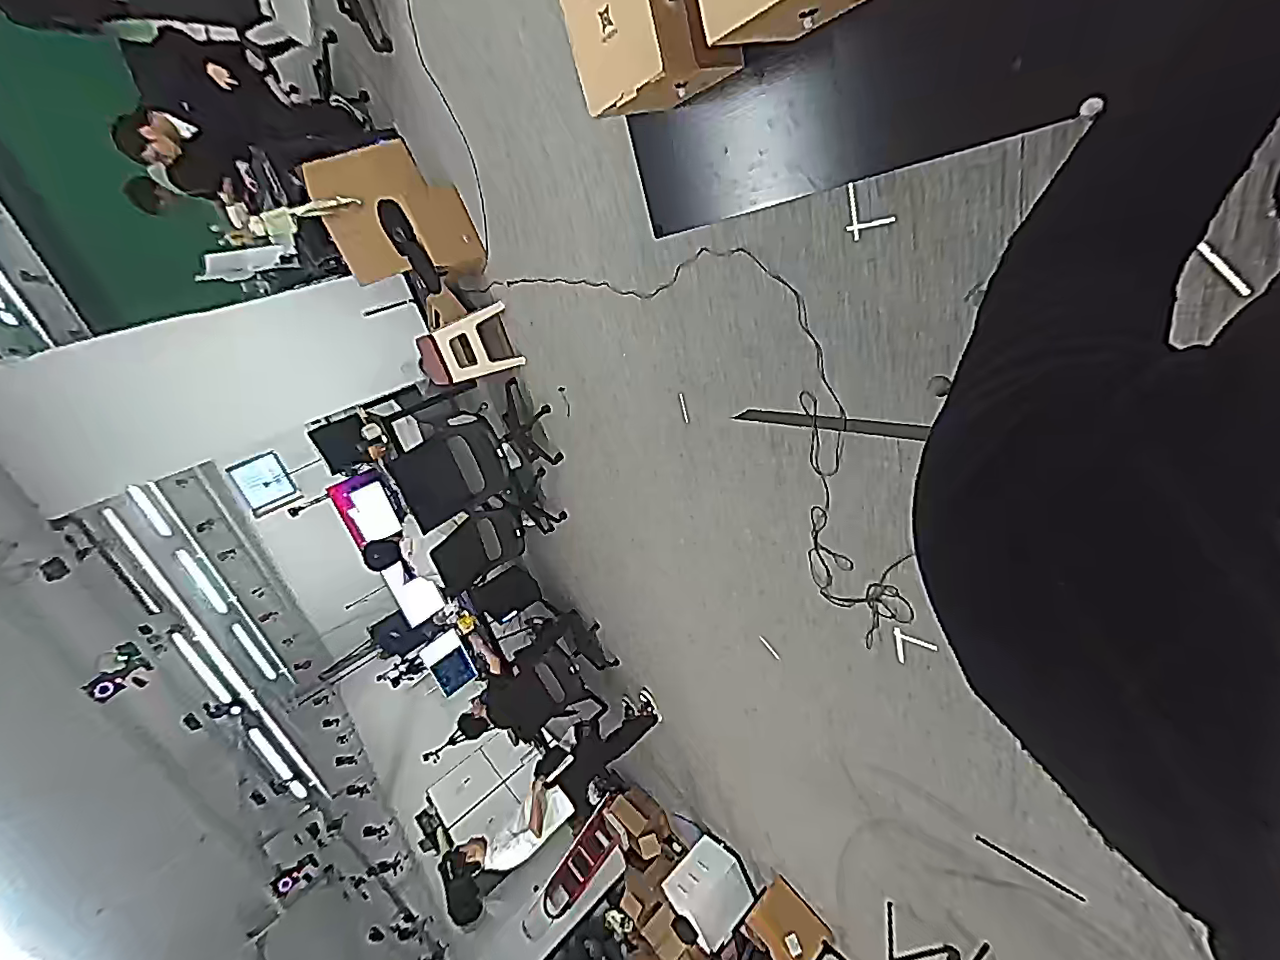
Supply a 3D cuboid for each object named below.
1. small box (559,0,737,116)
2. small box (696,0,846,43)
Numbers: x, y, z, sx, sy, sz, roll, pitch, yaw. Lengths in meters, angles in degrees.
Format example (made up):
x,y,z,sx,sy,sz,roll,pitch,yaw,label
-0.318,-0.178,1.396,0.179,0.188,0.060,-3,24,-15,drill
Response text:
x,y,z,sx,sy,sz,roll,pitch,yaw,label
0.014,-0.637,0.746,0.168,0.176,0.179,12,126,49,small box
0.162,-0.598,0.562,0.168,0.176,0.179,14,128,49,small box
